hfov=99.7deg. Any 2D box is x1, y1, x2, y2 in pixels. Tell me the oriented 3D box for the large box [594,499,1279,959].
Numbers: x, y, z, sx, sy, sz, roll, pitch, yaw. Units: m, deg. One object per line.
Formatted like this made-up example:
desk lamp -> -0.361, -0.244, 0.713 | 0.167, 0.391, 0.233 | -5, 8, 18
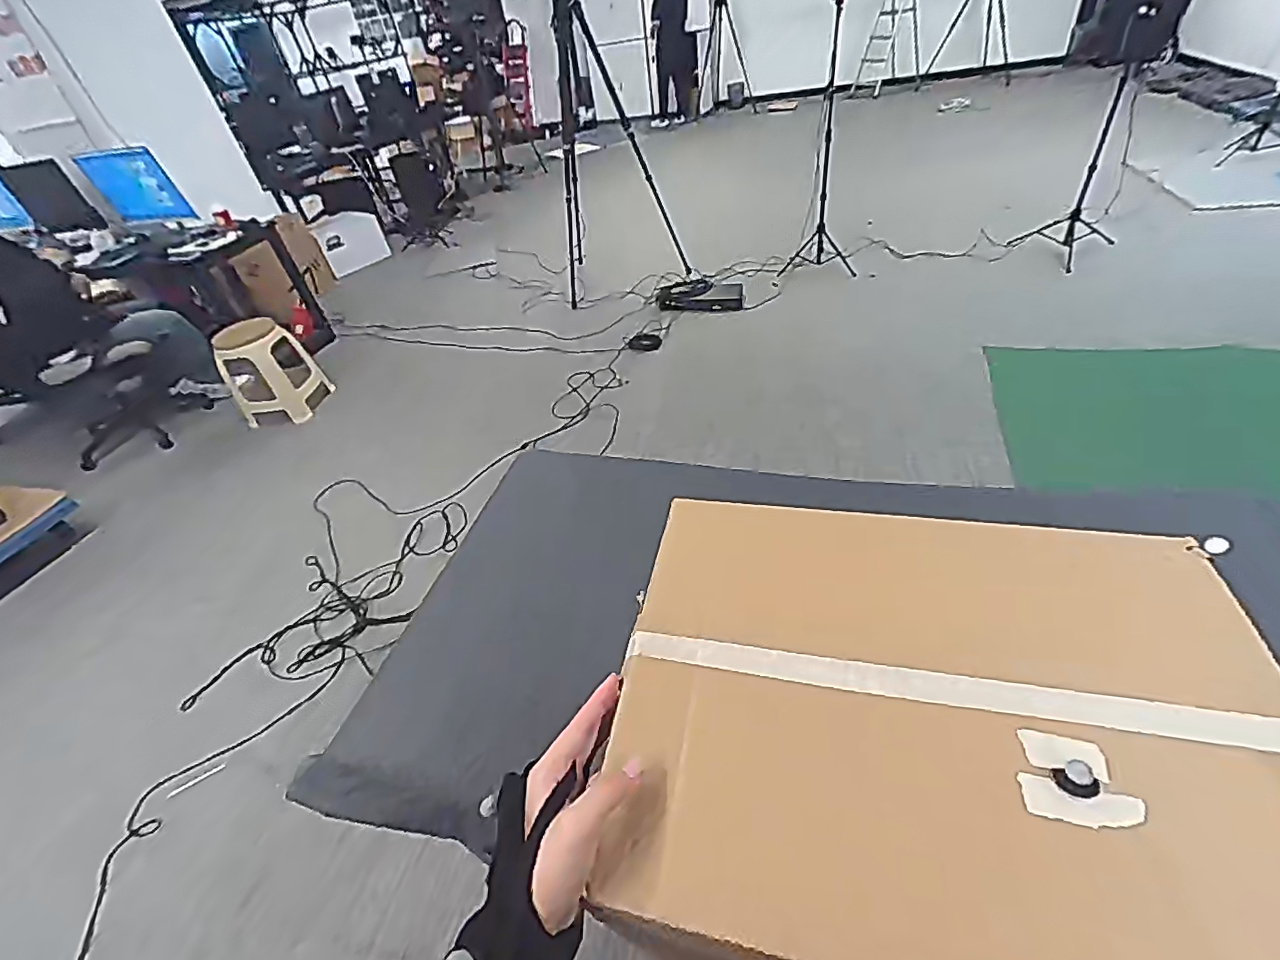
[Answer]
large box -> 0.210, 0.243, 0.473 | 0.408, 0.320, 0.320 | 5, 45, 14
